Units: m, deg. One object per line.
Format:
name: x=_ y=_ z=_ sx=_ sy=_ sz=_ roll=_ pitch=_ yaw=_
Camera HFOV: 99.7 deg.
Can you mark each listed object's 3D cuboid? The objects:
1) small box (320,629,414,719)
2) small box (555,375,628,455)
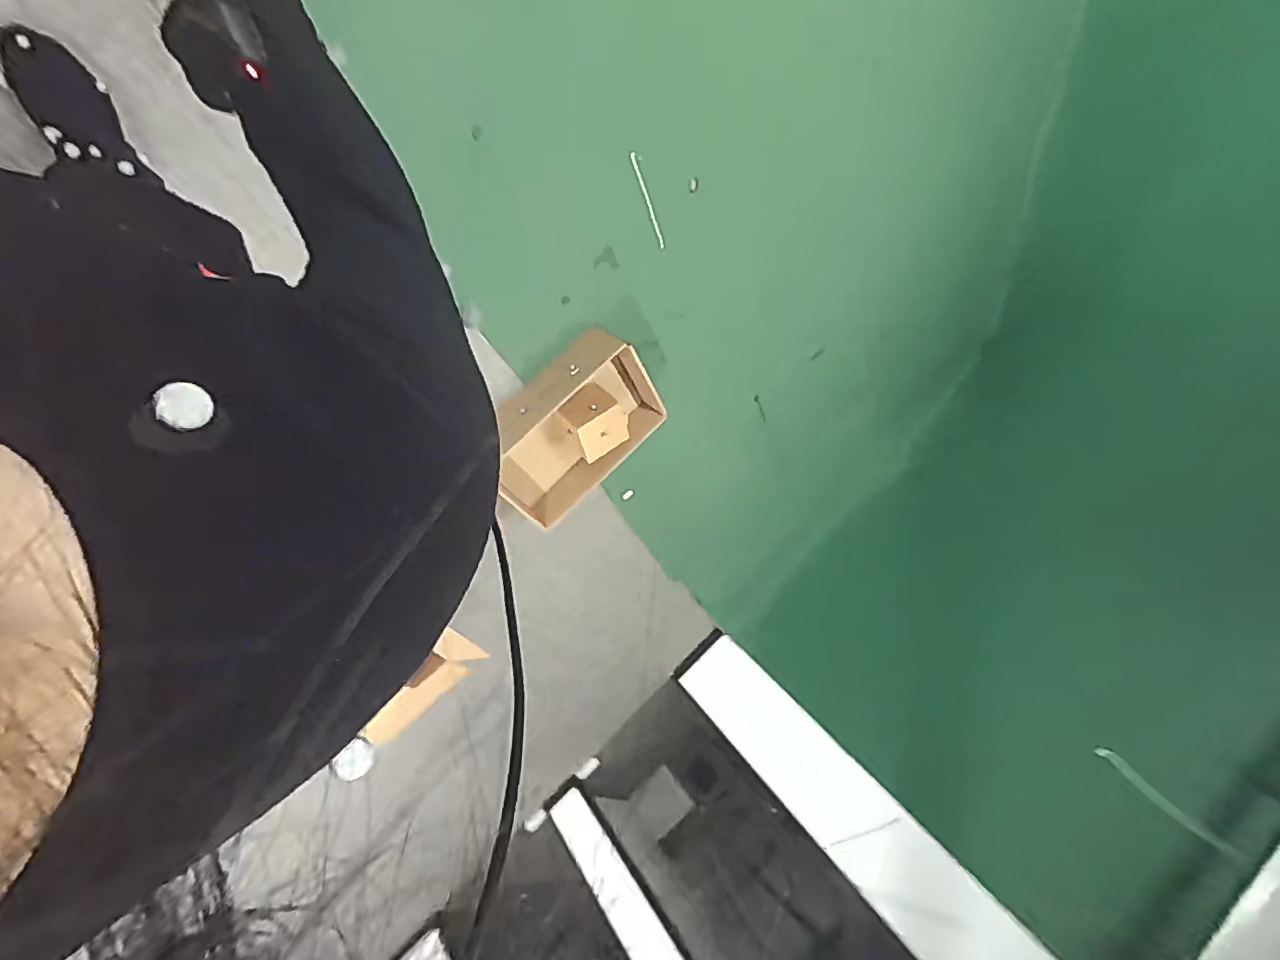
small box: x=-0.838 y=0.587 z=1.651 sx=0.179 sy=0.176 sz=0.168 roll=-41 pitch=141 yaw=-9
small box: x=-0.170 y=-0.224 z=1.837 sx=0.179 sy=0.176 sz=0.168 roll=-35 pitch=142 yaw=-16
